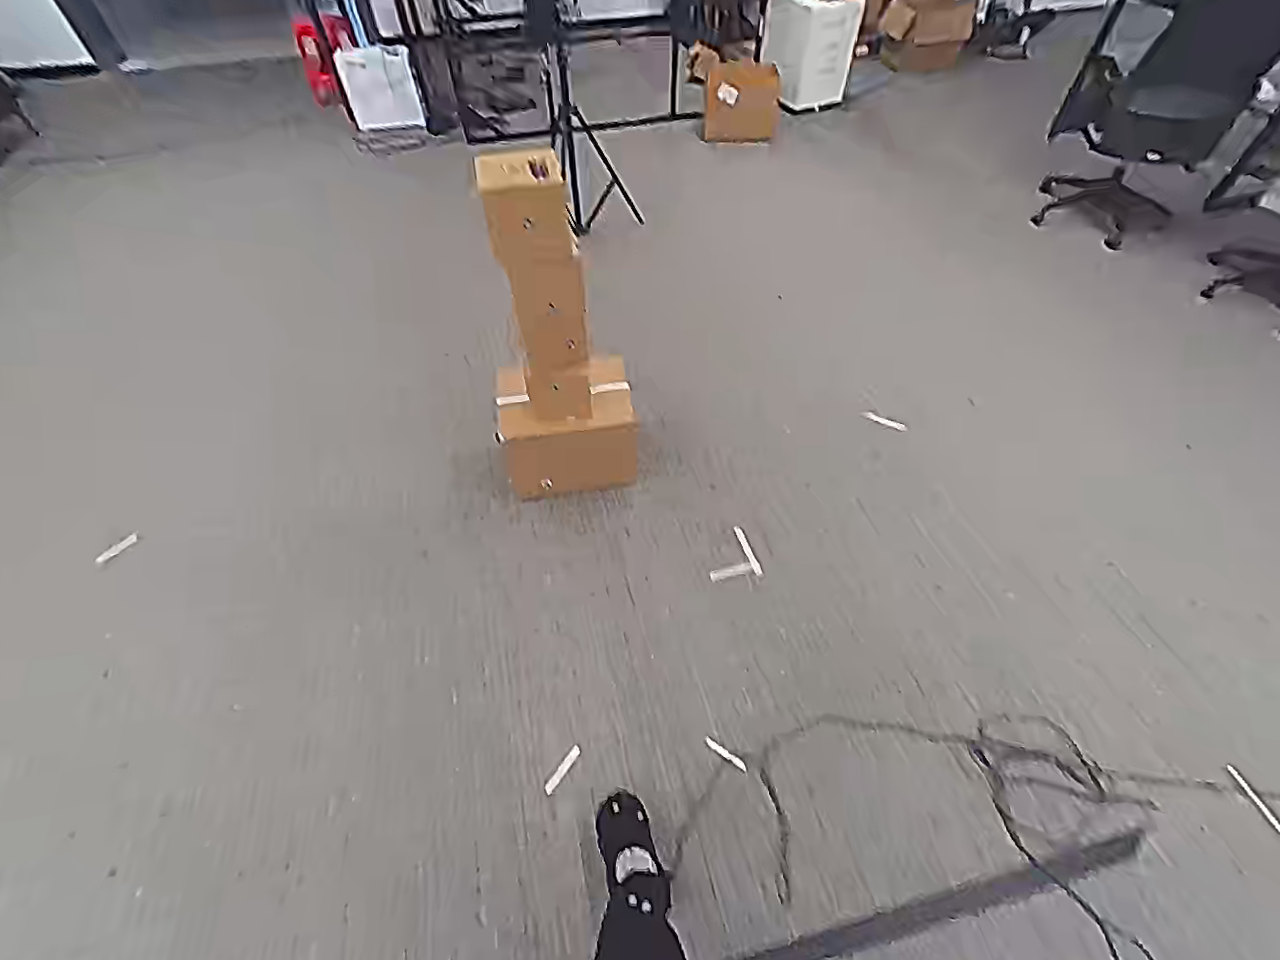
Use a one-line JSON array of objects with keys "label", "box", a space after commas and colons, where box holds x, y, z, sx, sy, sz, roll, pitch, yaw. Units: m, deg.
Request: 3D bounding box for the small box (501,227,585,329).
[{"label": "small box", "box": [-0.236, -0.498, 1.337, 0.179, 0.176, 0.168, -12, 53, -10]}]

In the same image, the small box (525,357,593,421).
[{"label": "small box", "box": [-0.234, -0.288, 1.586, 0.179, 0.176, 0.168, -5, 53, -4]}]

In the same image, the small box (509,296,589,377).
[{"label": "small box", "box": [-0.243, -0.398, 1.467, 0.168, 0.176, 0.179, -17, 53, -14]}]
